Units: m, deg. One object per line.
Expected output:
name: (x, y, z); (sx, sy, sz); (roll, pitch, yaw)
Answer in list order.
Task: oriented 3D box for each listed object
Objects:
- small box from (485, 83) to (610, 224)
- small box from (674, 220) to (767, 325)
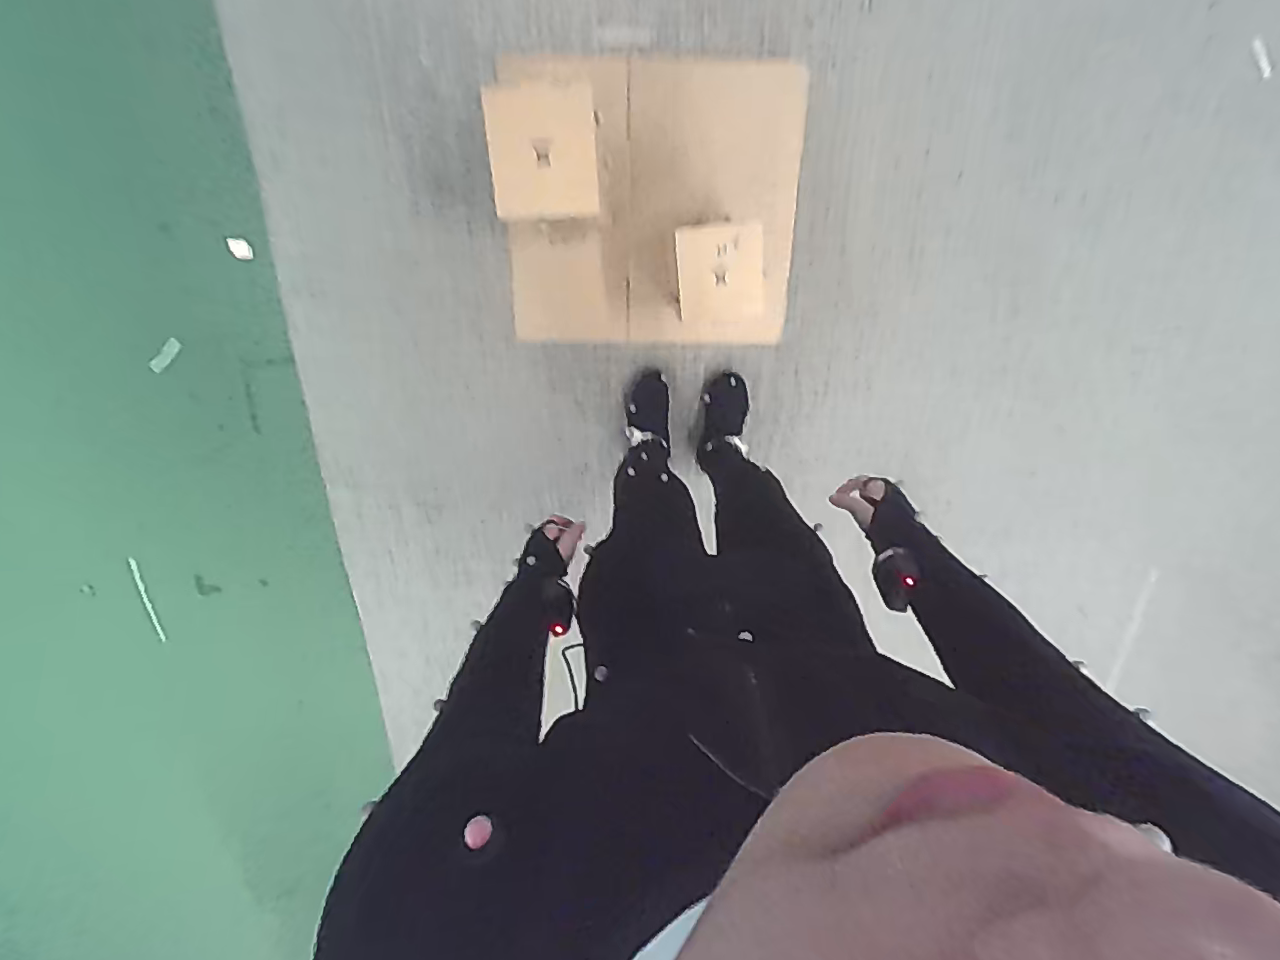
small box: (-0.142, -0.527, 0.898); (0.168, 0.176, 0.179); (-3, 111, 2)
small box: (0.161, -0.424, 1.105); (0.168, 0.176, 0.179); (-6, 112, 2)
